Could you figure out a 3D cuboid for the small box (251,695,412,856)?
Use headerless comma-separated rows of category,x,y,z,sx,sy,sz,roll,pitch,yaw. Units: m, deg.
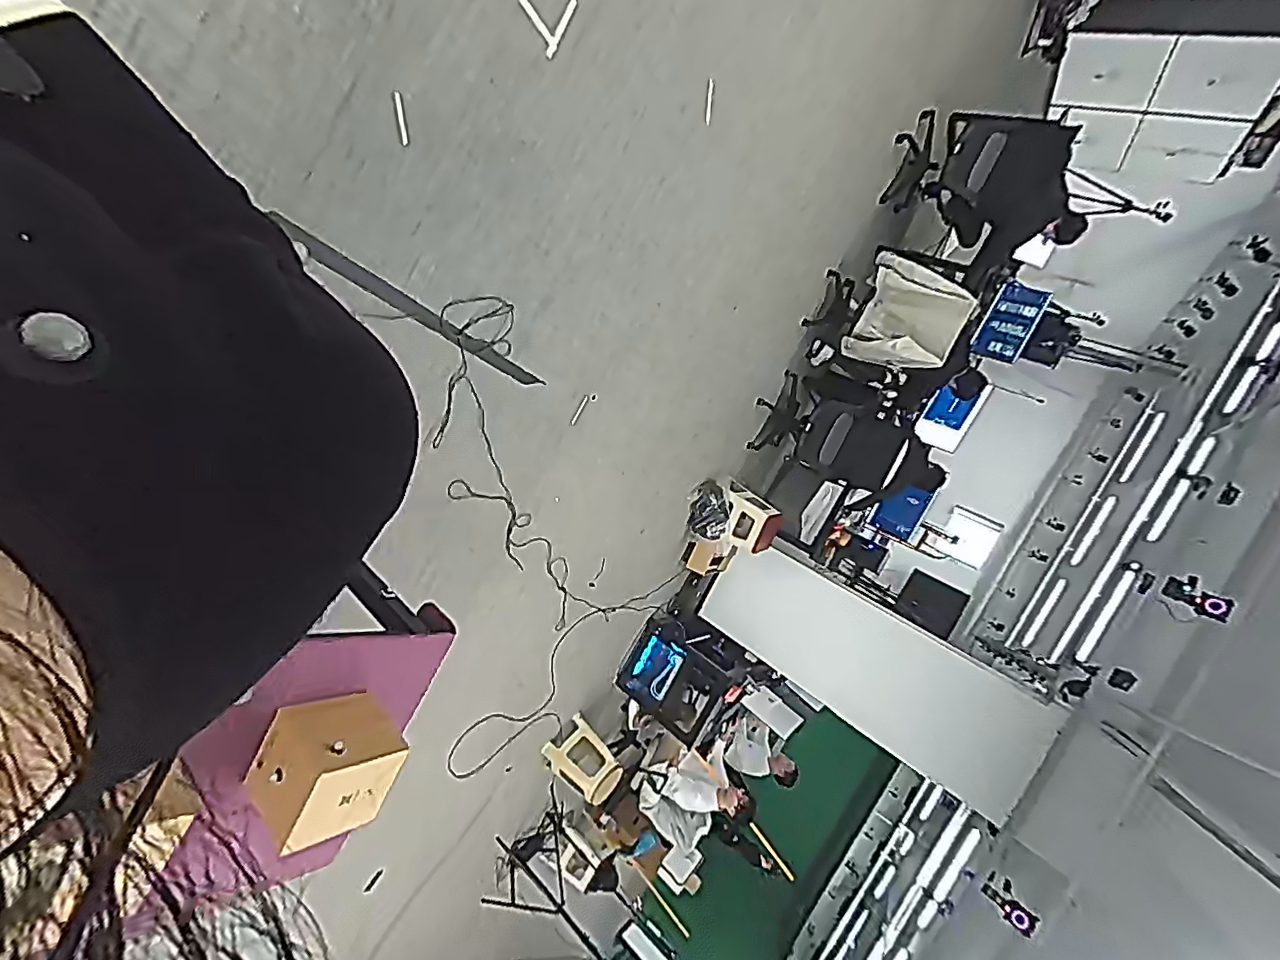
small box,-0.564,0.523,0.987,0.168,0.176,0.179,-61,150,5
